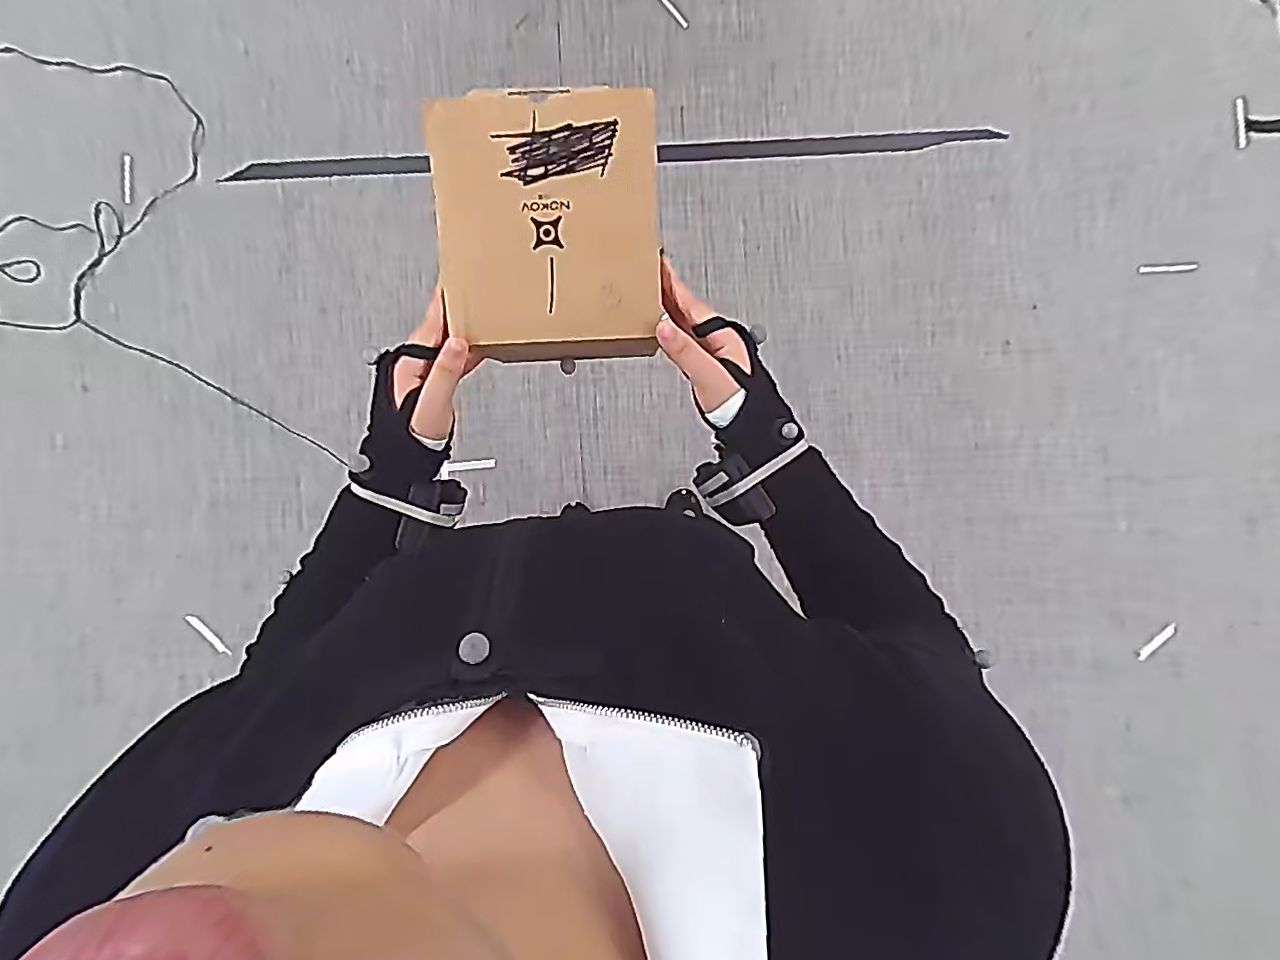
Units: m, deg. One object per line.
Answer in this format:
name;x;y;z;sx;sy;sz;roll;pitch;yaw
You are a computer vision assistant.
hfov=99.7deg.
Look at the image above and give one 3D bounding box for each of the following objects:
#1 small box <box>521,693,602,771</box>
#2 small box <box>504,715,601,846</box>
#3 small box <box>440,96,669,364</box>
small box;-0.184;0.630;1.309;0.168;0.176;0.179;-5;88;1
small box;-0.178;0.627;1.145;0.168;0.176;0.179;-8;89;0
small box;-0.063;-0.201;0.482;0.168;0.176;0.179;-2;98;0
